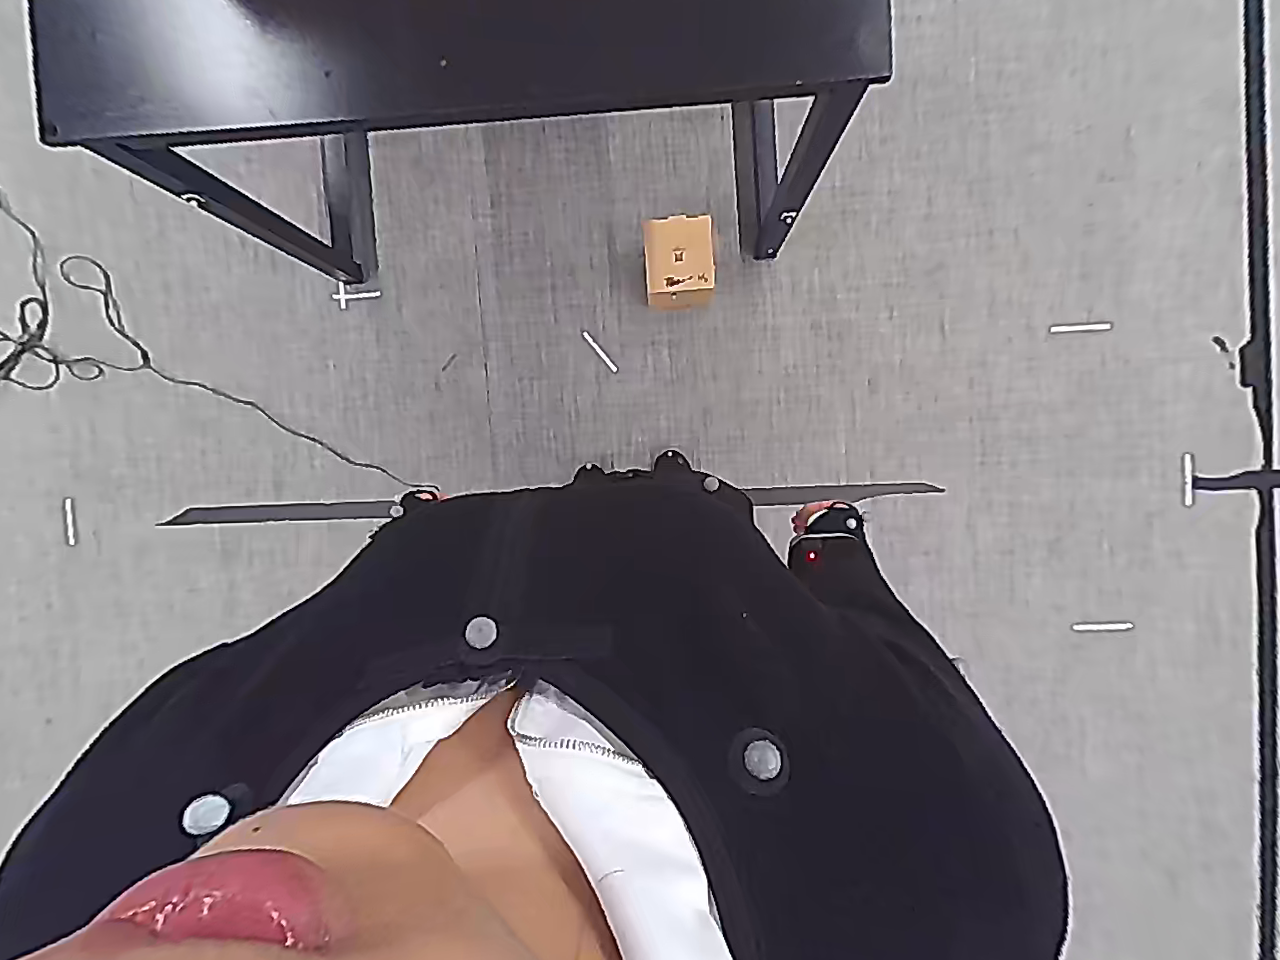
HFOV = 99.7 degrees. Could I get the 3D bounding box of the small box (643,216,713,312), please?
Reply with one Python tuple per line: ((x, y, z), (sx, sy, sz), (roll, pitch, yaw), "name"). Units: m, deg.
((0.096, -0.546, 1.383), (0.168, 0.176, 0.179), (-3, 92, 4), "small box")
